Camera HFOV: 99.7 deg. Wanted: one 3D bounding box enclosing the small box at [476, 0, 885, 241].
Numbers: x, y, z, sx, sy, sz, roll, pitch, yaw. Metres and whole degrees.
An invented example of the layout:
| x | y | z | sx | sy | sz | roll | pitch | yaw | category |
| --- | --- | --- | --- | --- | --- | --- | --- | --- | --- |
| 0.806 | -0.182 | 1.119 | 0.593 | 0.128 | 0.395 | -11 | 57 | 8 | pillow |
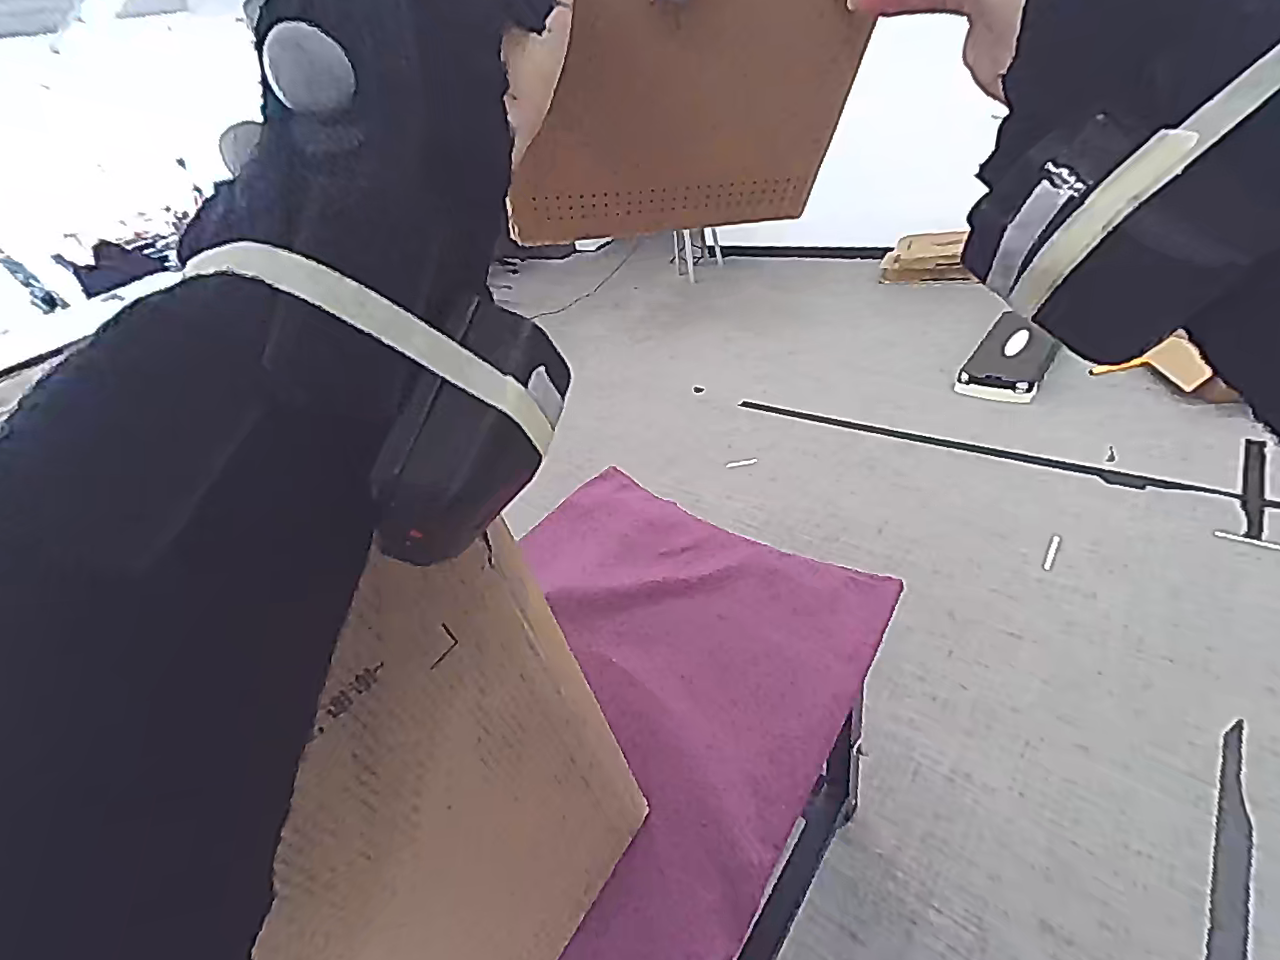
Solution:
| x | y | z | sx | sy | sz | roll | pitch | yaw | category |
| --- | --- | --- | --- | --- | --- | --- | --- | --- | --- |
| 0.009 | -0.252 | 0.281 | 0.179 | 0.176 | 0.168 | -8 | 67 | -6 | small box |
